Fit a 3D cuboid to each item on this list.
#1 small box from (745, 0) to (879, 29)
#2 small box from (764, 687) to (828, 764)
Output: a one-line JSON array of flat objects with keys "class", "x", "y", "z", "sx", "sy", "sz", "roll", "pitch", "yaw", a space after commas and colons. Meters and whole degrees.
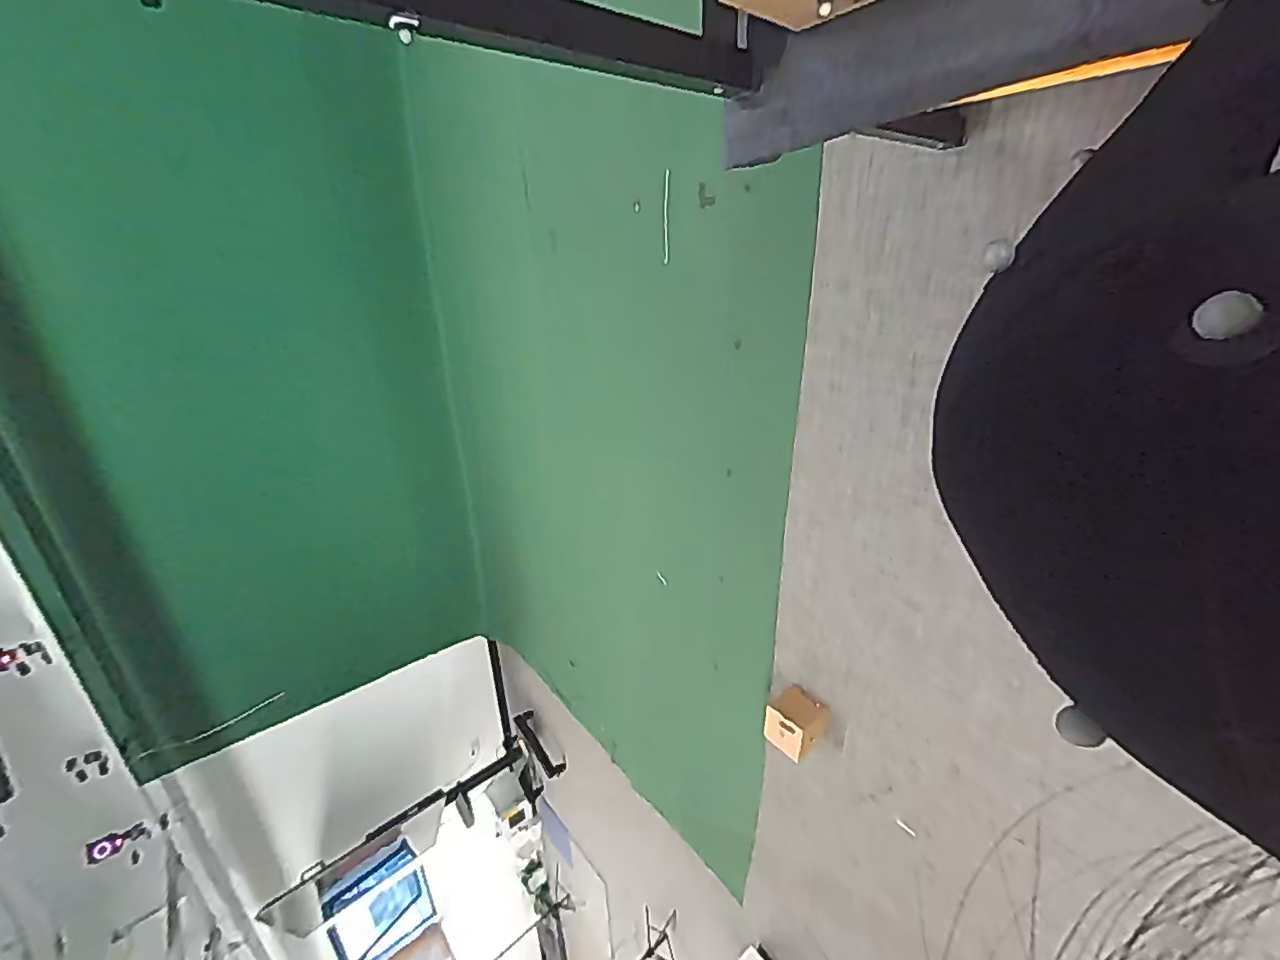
[{"class": "small box", "x": 0.208, "y": -0.671, "z": 0.625, "sx": 0.168, "sy": 0.176, "sz": 0.179, "roll": 21, "pitch": 121, "yaw": 47}, {"class": "small box", "x": 0.606, "y": 0.939, "z": 2.087, "sx": 0.168, "sy": 0.176, "sz": 0.179, "roll": 26, "pitch": 126, "yaw": 45}]
